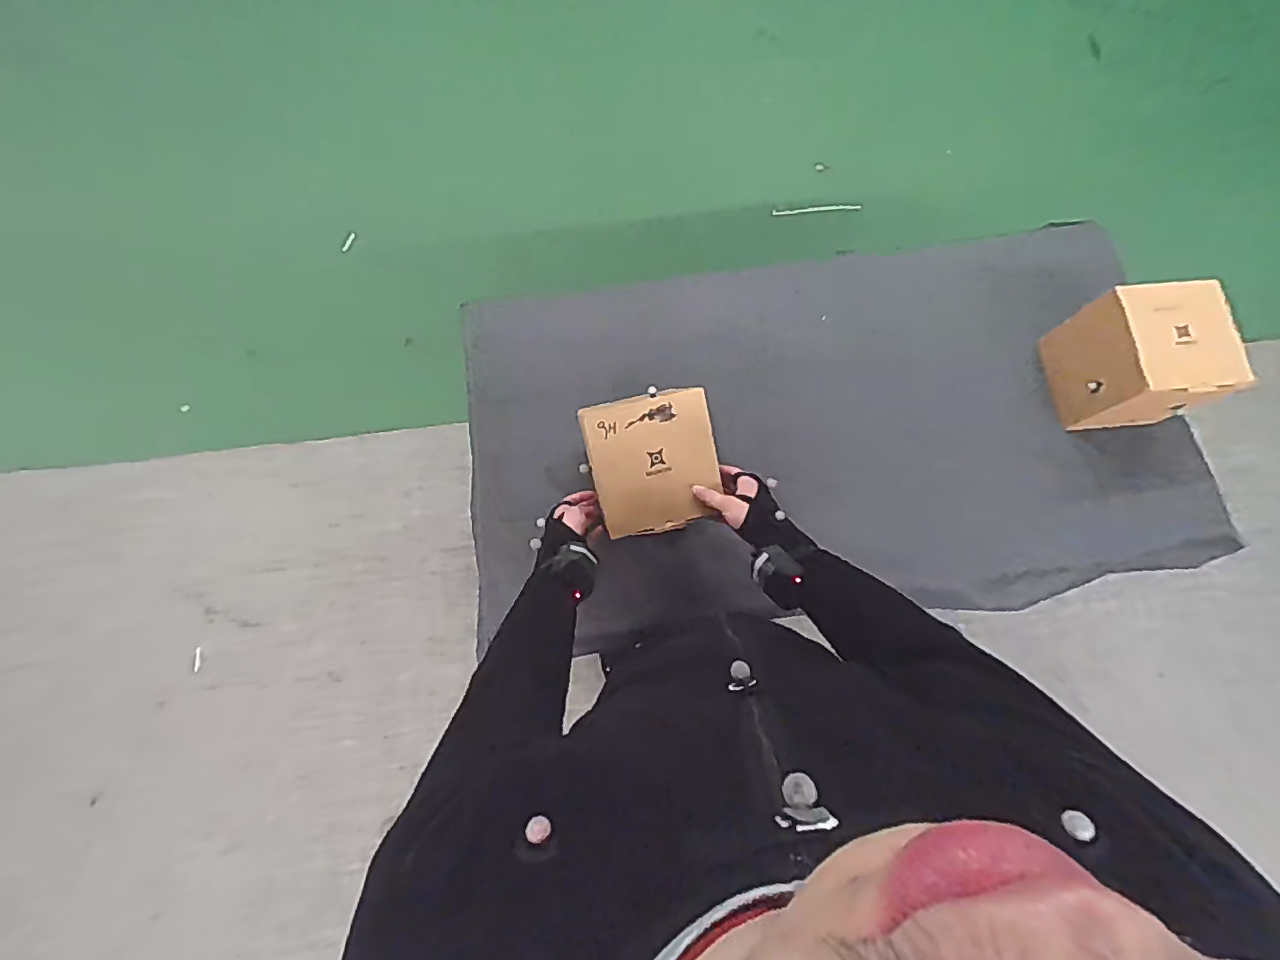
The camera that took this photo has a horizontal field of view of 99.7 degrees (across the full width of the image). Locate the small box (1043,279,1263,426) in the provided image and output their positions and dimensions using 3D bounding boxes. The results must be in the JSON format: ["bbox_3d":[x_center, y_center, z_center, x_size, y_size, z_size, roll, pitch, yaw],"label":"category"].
[{"bbox_3d":[0.802,-0.194,0.869,0.168,0.176,0.179,-5,74,-3],"label":"small box"}]

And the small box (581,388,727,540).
[{"bbox_3d":[0.013,-0.034,0.788,0.168,0.176,0.179,-13,101,-7],"label":"small box"}]
